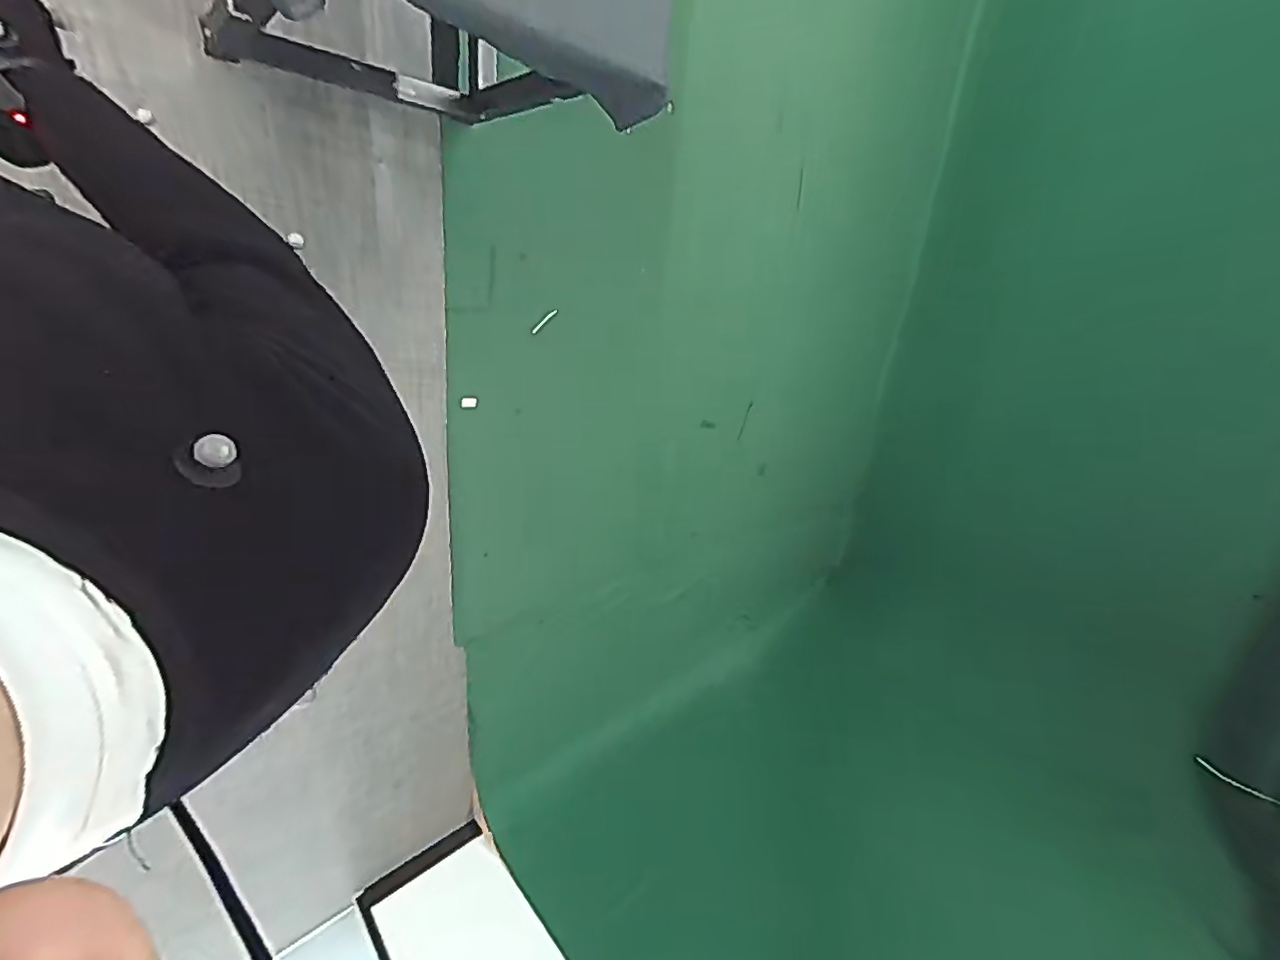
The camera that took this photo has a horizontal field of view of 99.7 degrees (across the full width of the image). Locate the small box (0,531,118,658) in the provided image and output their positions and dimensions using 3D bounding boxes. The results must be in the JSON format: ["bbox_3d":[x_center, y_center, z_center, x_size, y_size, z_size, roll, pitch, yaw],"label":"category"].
[{"bbox_3d":[-1.216,0.229,1.124,0.168,0.176,0.179,-12,117,-45],"label":"small box"}]
